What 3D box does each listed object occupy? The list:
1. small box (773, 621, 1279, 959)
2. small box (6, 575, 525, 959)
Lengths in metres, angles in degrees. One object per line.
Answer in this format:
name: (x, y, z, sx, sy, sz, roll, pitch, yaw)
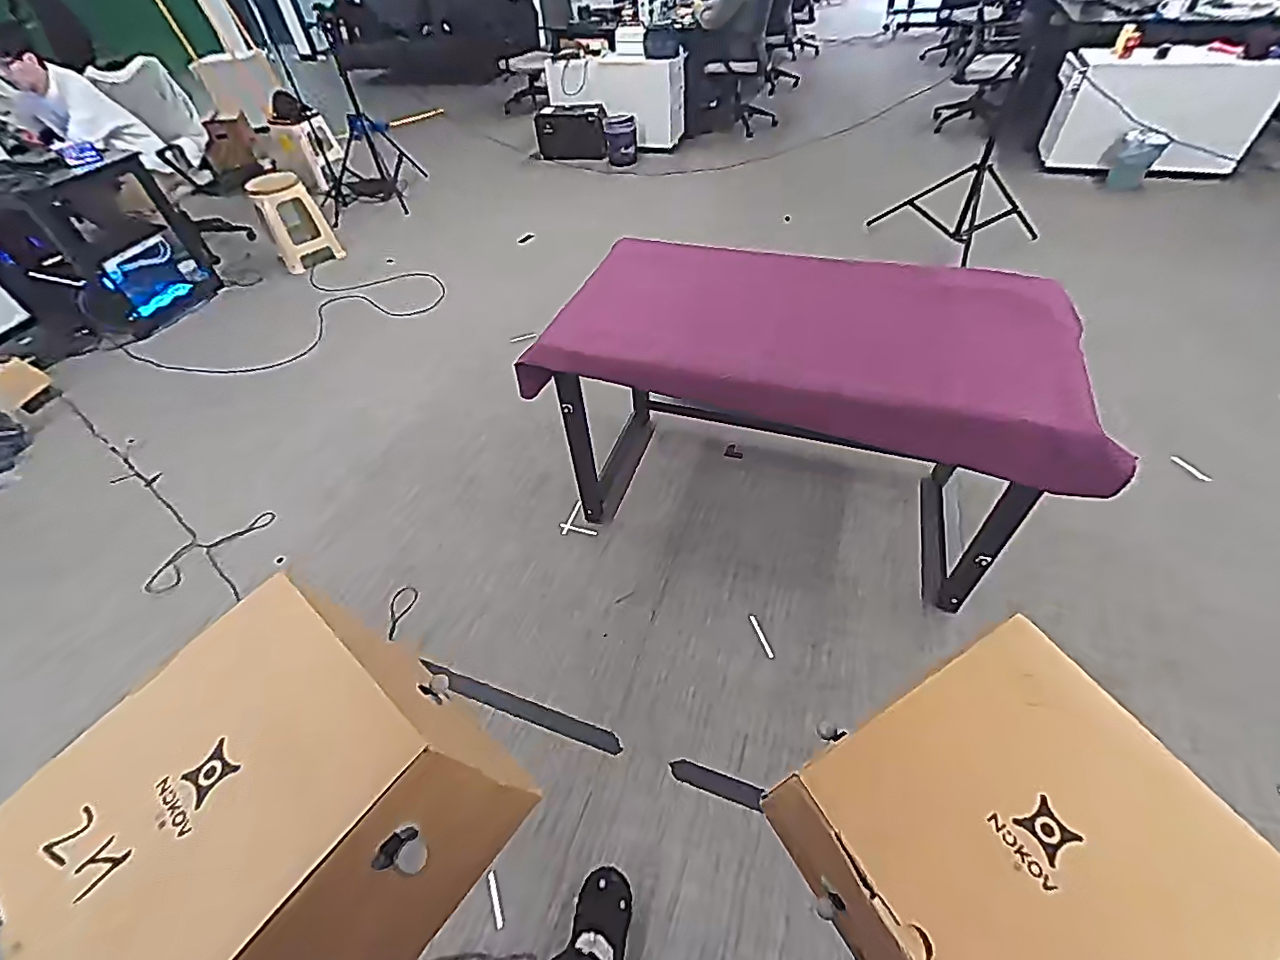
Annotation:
small box: (0.206, 0.223, 0.339, 0.179, 0.176, 0.168, -28, 58, -13)
small box: (-0.193, 0.198, 0.329, 0.168, 0.176, 0.179, 29, 65, 31)
